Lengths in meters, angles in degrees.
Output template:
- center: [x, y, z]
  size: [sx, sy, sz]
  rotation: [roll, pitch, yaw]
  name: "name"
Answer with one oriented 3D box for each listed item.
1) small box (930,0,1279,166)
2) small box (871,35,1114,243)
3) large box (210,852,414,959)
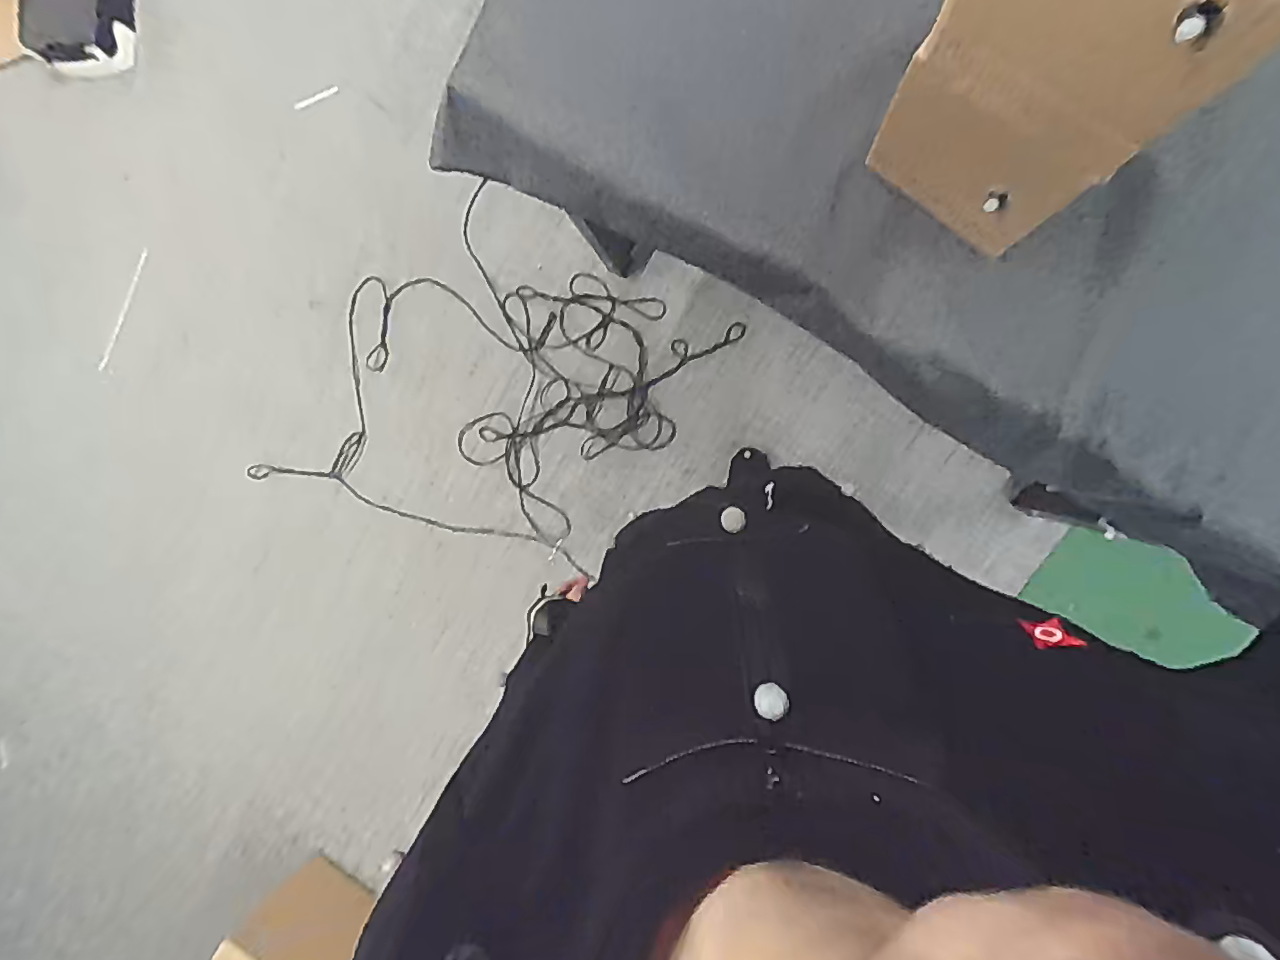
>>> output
- center: [0.322, -0.340, 0.330]
  size: [0.179, 0.176, 0.168]
  rotation: [40, 98, 5]
  name: "small box"
- center: [0.347, -0.346, 0.491]
  size: [0.179, 0.176, 0.168]
  rotation: [41, 98, 6]
  name: "small box"
- center: [-0.929, 1.367, 1.504]
  size: [0.408, 0.320, 0.320]
  rotation: [32, 98, 8]
  name: "large box"
